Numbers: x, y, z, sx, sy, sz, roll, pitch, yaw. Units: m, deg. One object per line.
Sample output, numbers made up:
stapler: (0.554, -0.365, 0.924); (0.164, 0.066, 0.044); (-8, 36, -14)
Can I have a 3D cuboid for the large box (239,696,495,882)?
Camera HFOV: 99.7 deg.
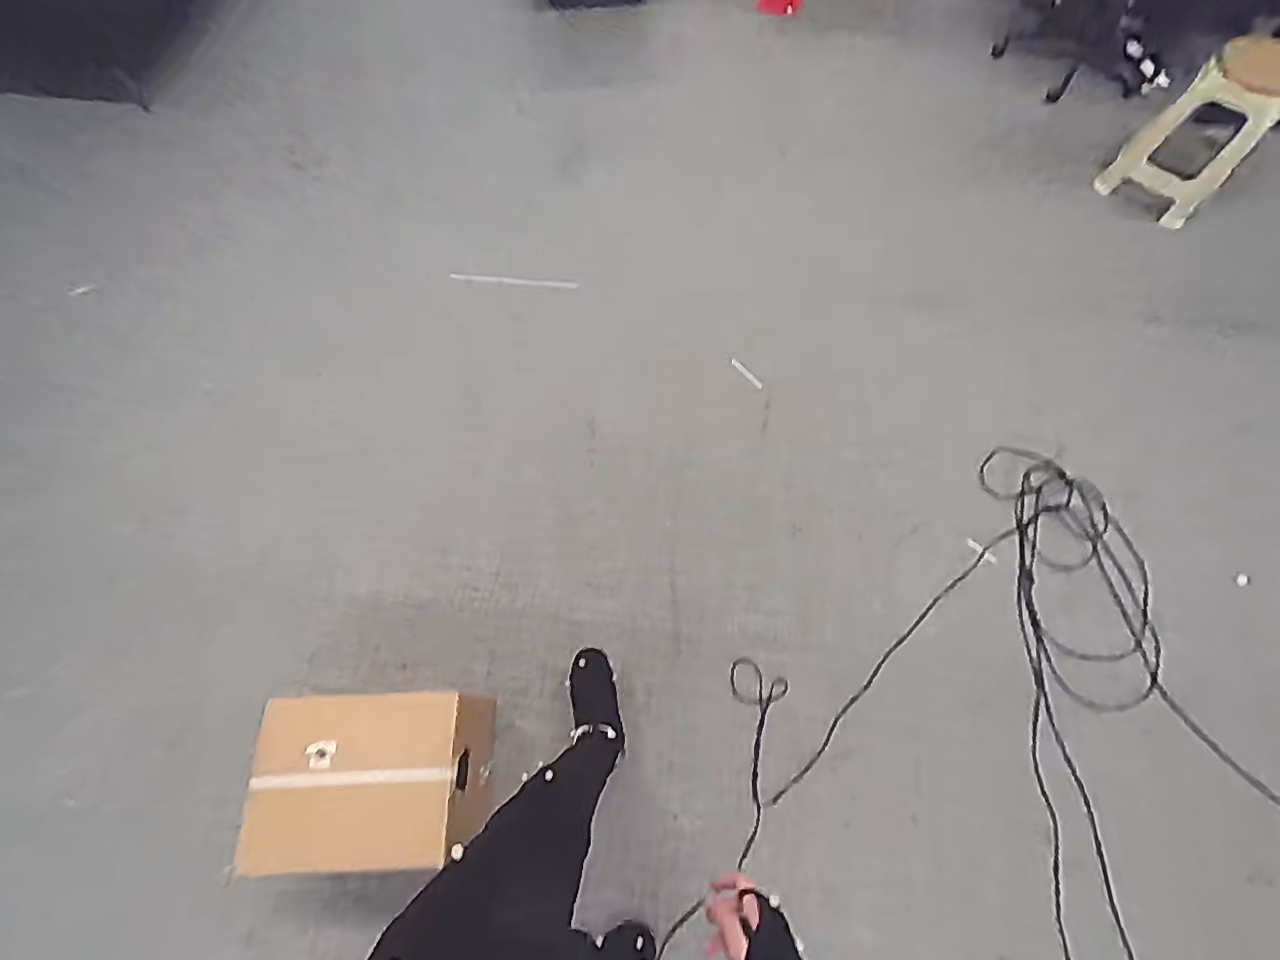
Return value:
large box: (-0.567, 0.669, 1.220); (0.408, 0.320, 0.320); (-2, 65, 0)
